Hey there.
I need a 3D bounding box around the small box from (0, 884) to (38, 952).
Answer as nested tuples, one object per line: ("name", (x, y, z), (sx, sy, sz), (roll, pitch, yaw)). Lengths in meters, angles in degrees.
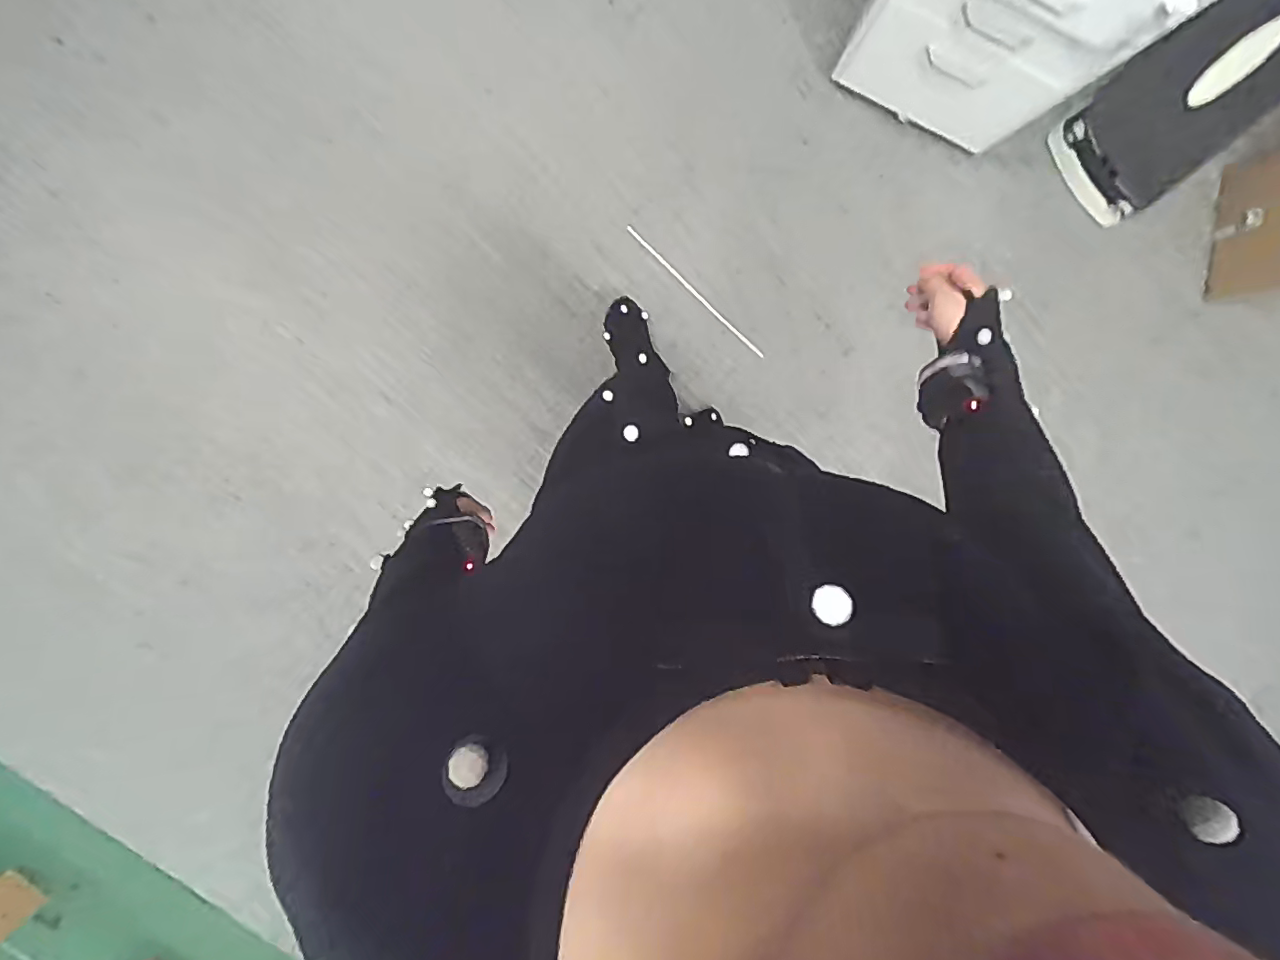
("small box", (-2.094, 1.441, 1.712), (0.179, 0.176, 0.168), (-39, 97, 8))
